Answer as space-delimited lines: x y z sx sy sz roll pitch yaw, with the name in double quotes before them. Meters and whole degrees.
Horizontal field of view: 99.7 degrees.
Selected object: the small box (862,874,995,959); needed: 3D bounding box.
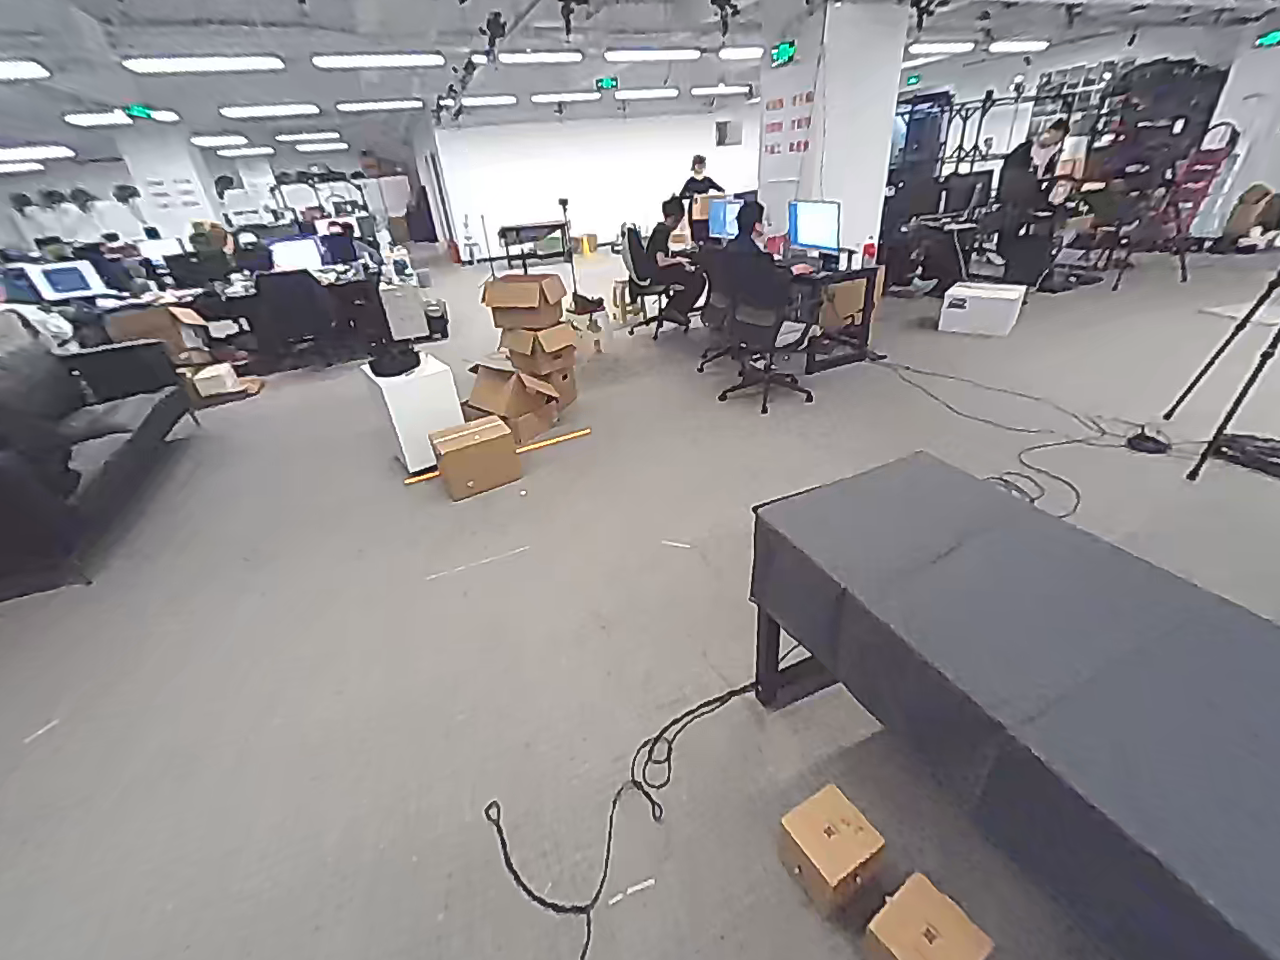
"small box" 0.582 0.979 1.112 0.179 0.176 0.168 -22 34 -27
